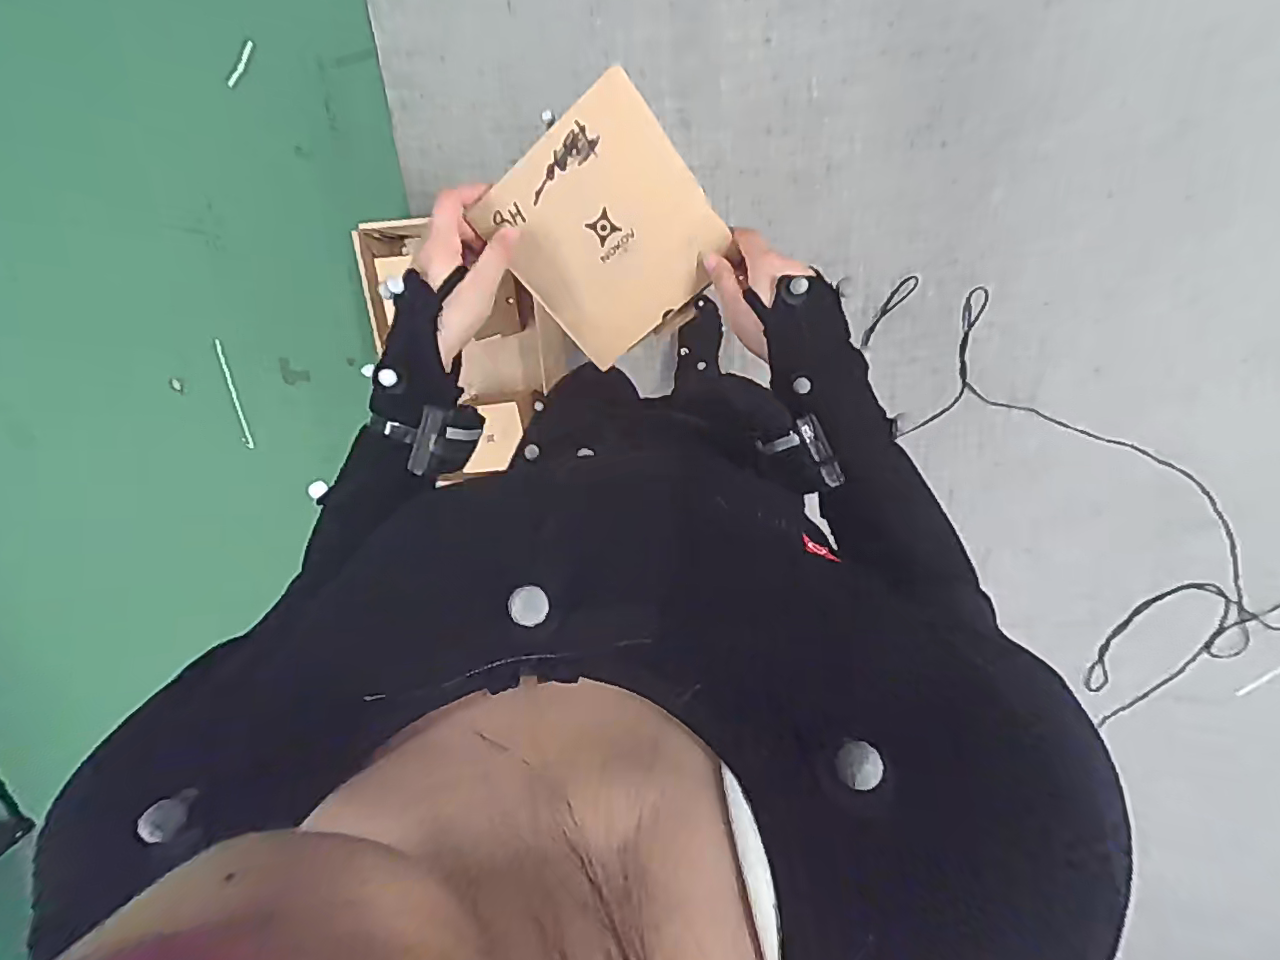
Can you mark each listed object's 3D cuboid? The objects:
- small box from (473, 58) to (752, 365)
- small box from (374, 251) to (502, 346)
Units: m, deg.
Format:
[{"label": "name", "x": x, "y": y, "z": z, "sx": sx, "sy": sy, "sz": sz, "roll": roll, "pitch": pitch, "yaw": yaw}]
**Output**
[{"label": "small box", "x": -0.024, "y": -0.248, "z": 0.511, "sx": 0.168, "sy": 0.176, "sz": 0.179, "roll": -36, "pitch": 119, "yaw": 16}, {"label": "small box", "x": -0.402, "y": -0.369, "z": 1.102, "sx": 0.179, "sy": 0.176, "sz": 0.168, "roll": -2, "pitch": 111, "yaw": 6}]
